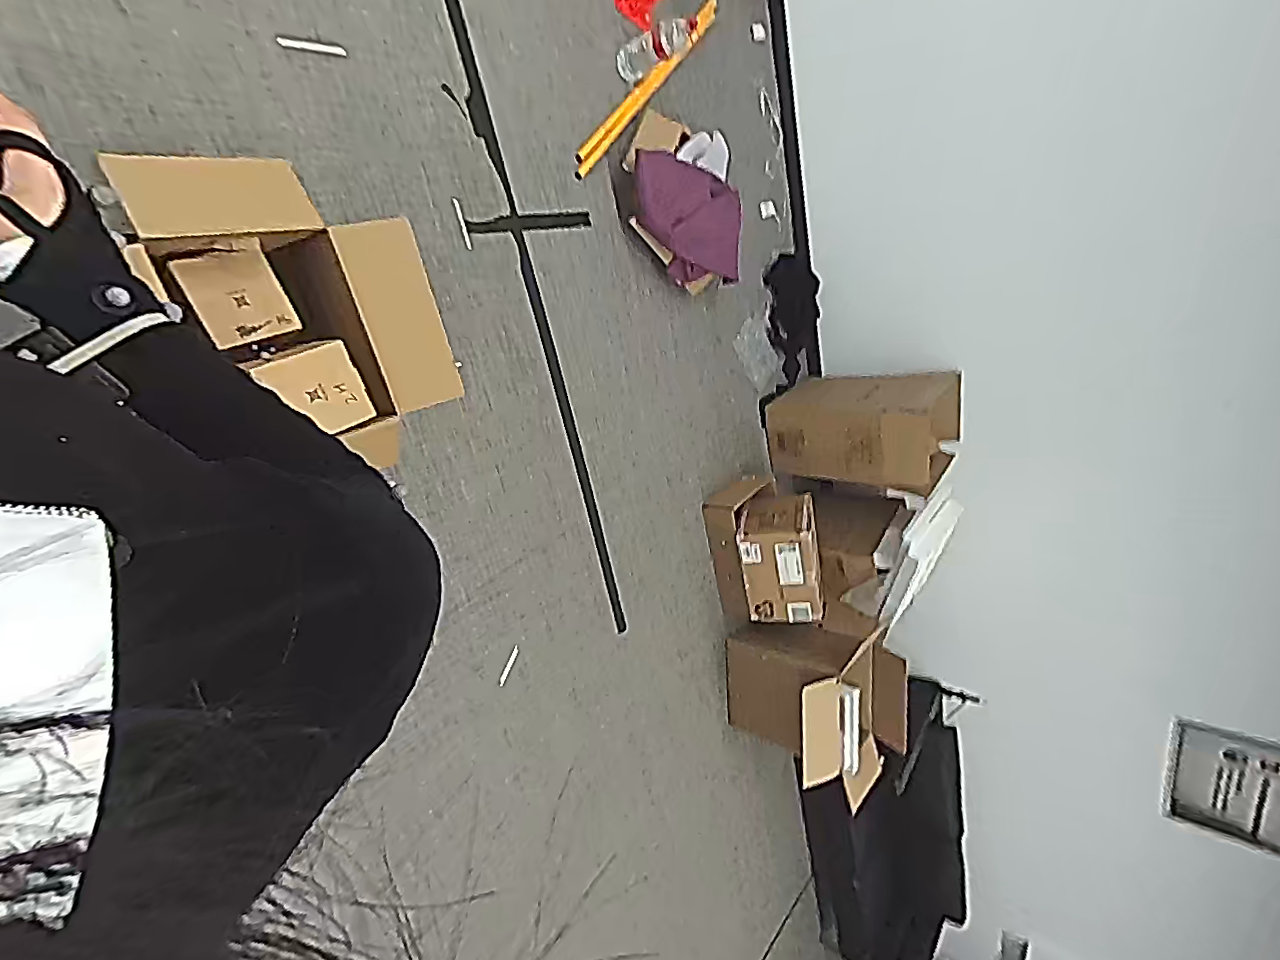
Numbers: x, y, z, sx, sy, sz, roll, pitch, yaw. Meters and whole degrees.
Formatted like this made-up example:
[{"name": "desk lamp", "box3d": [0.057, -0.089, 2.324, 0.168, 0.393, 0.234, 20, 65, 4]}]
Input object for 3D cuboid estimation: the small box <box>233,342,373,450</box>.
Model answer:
[{"name": "small box", "box3d": [-0.695, -0.176, 1.109, 0.179, 0.176, 0.168, -37, 124, -38]}]
